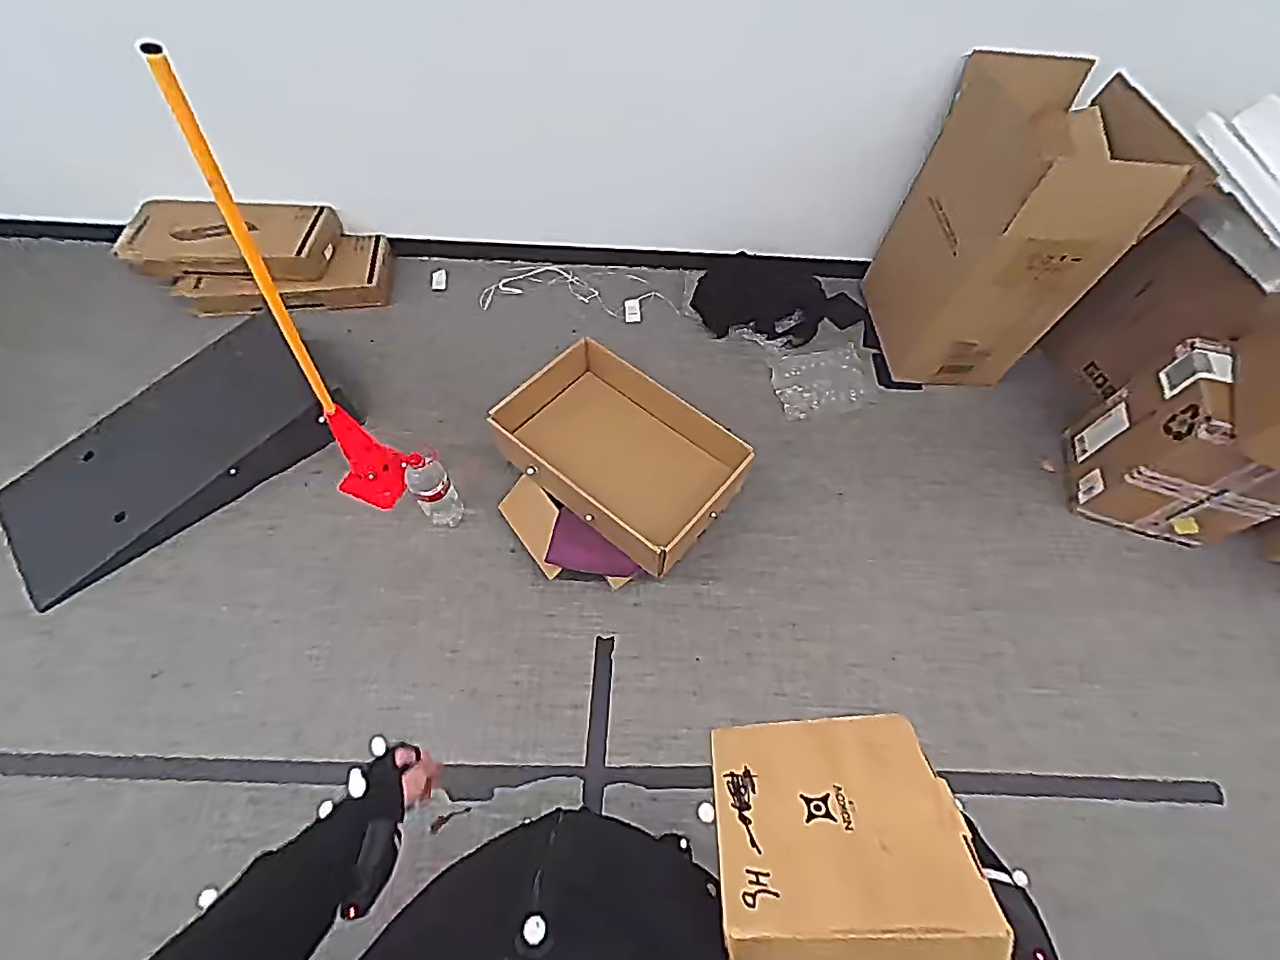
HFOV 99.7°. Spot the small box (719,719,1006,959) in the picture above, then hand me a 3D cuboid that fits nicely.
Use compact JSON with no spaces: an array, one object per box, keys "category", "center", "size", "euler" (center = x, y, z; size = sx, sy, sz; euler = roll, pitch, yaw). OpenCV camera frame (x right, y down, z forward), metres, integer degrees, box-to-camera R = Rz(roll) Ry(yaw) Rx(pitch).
[{"category":"small box","center":[0.164,0.330,0.453],"size":[0.179,0.176,0.168],"euler":[-7,22,7]}]
